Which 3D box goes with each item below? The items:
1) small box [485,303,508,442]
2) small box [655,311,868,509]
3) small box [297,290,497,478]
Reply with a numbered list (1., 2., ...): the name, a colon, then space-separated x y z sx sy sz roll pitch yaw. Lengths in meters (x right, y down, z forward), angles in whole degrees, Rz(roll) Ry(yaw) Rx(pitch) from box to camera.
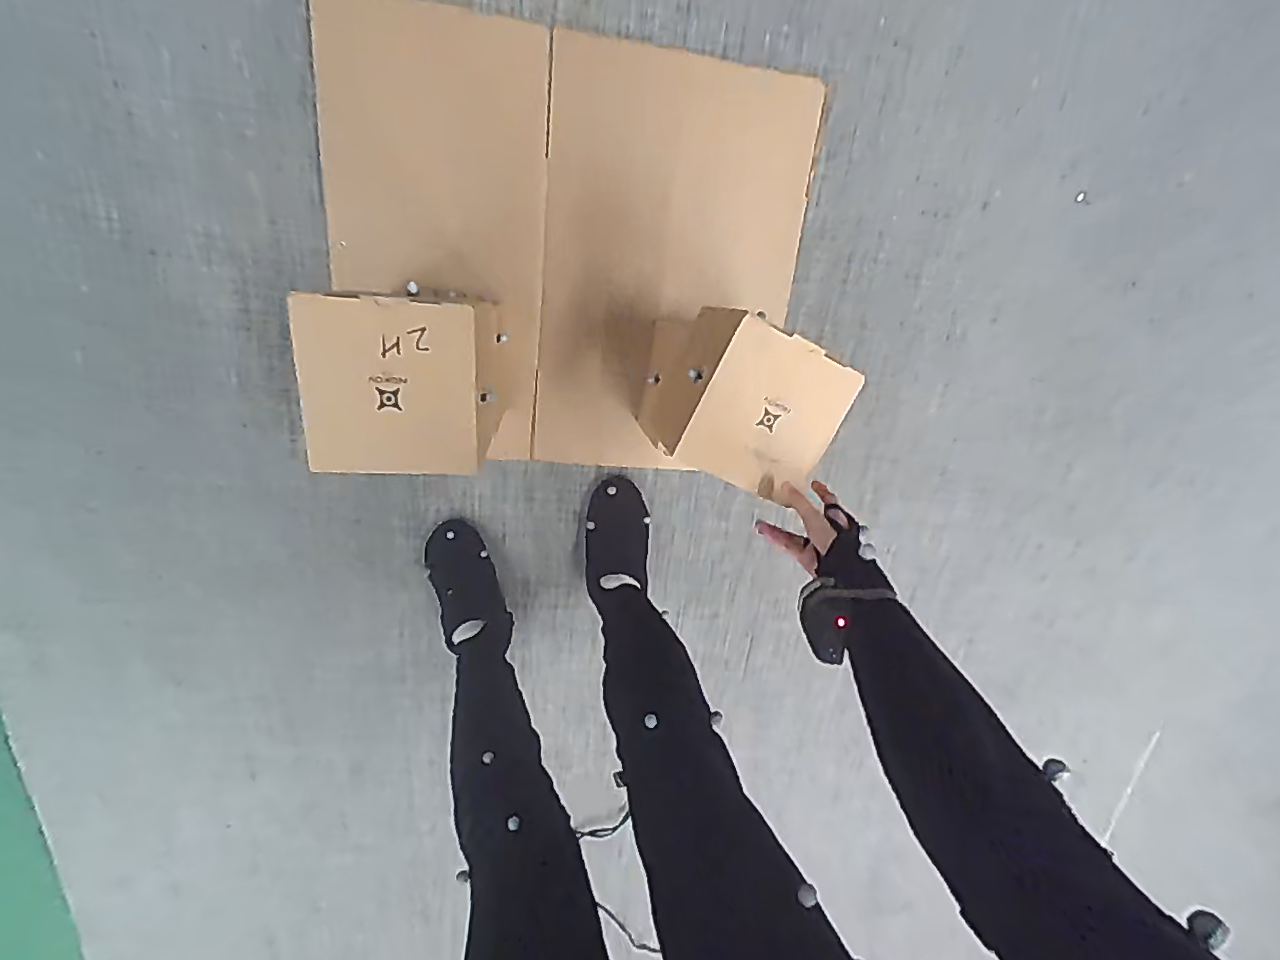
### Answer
1. small box: -0.275 -0.160 0.760 0.168 0.176 0.179 1 108 -10
2. small box: 0.134 -0.096 0.671 0.168 0.176 0.179 23 103 -17
3. small box: -0.251 -0.113 0.604 0.168 0.176 0.179 2 108 -11
